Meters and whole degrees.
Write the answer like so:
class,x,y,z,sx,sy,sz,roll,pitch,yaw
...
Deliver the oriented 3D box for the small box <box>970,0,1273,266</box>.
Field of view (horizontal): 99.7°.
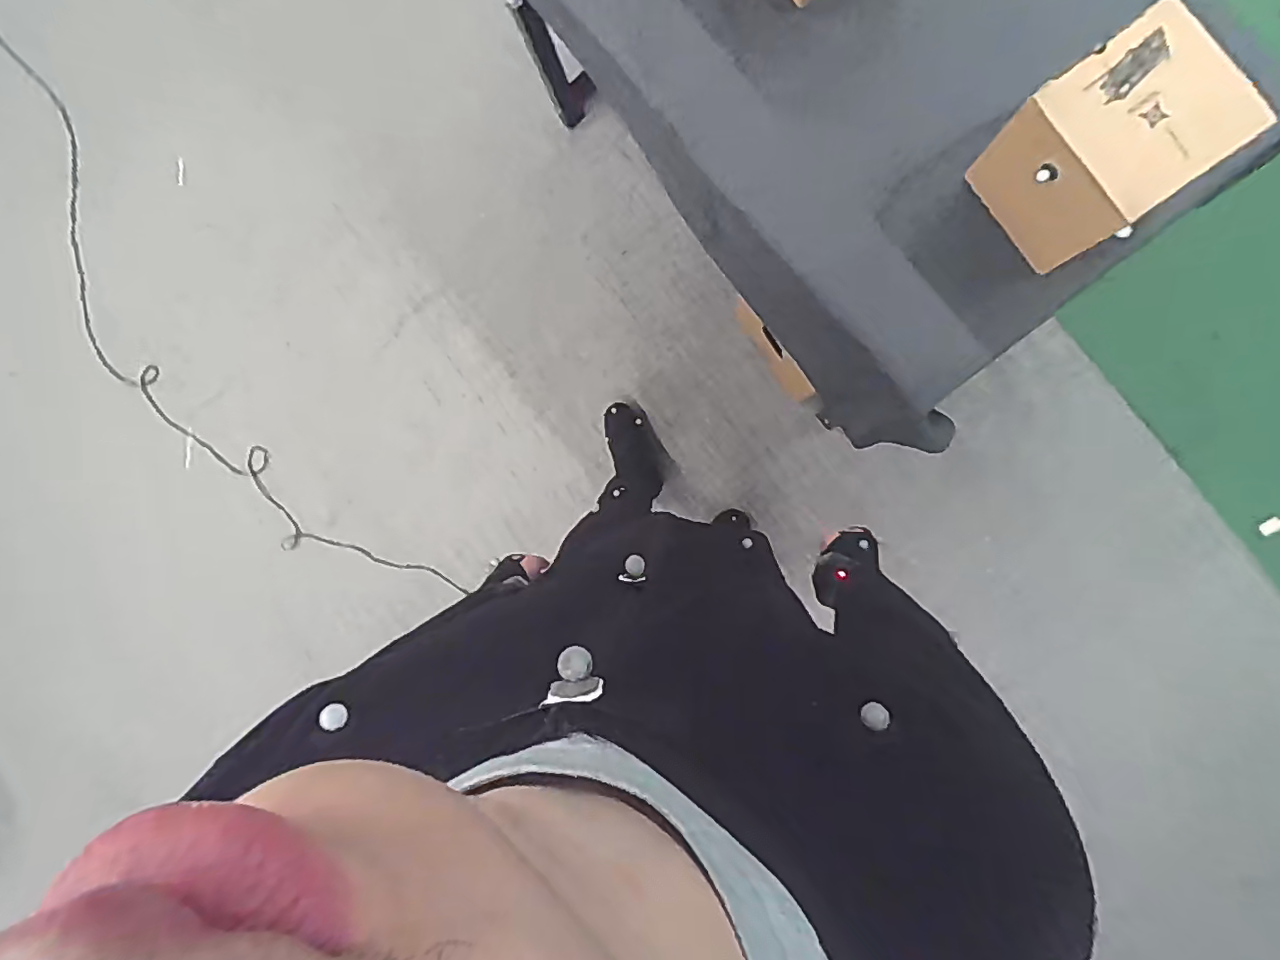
class,x,y,z,sx,sy,sz,roll,pitch,yaw
small box,0.541,-0.393,0.643,0.168,0.176,0.179,-35,88,8
